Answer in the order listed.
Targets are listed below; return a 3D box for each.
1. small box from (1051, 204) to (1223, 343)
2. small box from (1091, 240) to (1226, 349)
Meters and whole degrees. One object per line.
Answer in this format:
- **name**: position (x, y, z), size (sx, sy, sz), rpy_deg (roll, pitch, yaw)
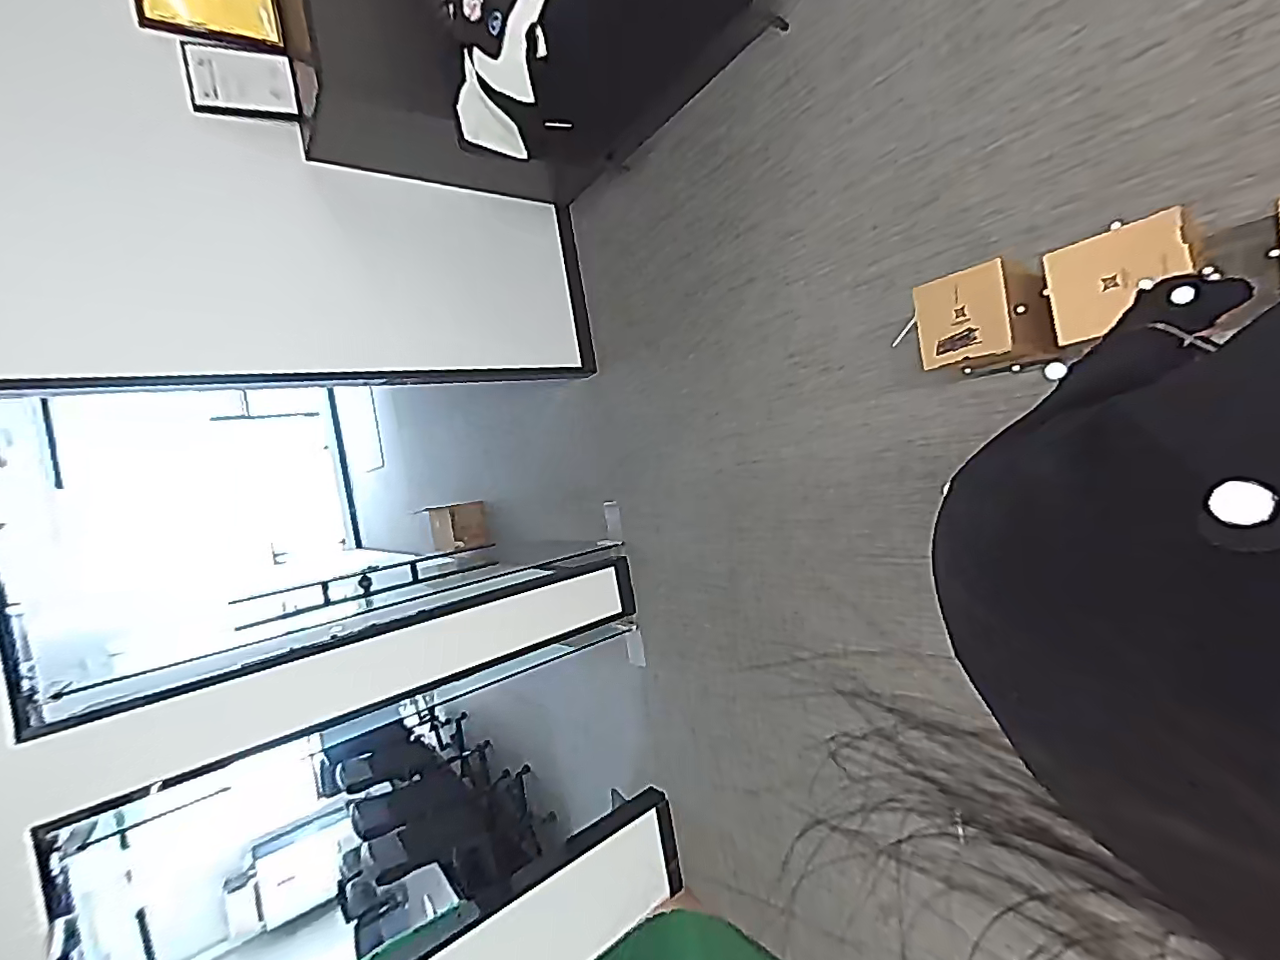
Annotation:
- **small box**: position (0.847, -0.337, 0.924), size (0.179, 0.176, 0.168), rpy_deg (-11, 90, 53)
- **small box**: position (0.972, -0.355, 1.026), size (0.168, 0.176, 0.179), rpy_deg (-10, 90, 54)
